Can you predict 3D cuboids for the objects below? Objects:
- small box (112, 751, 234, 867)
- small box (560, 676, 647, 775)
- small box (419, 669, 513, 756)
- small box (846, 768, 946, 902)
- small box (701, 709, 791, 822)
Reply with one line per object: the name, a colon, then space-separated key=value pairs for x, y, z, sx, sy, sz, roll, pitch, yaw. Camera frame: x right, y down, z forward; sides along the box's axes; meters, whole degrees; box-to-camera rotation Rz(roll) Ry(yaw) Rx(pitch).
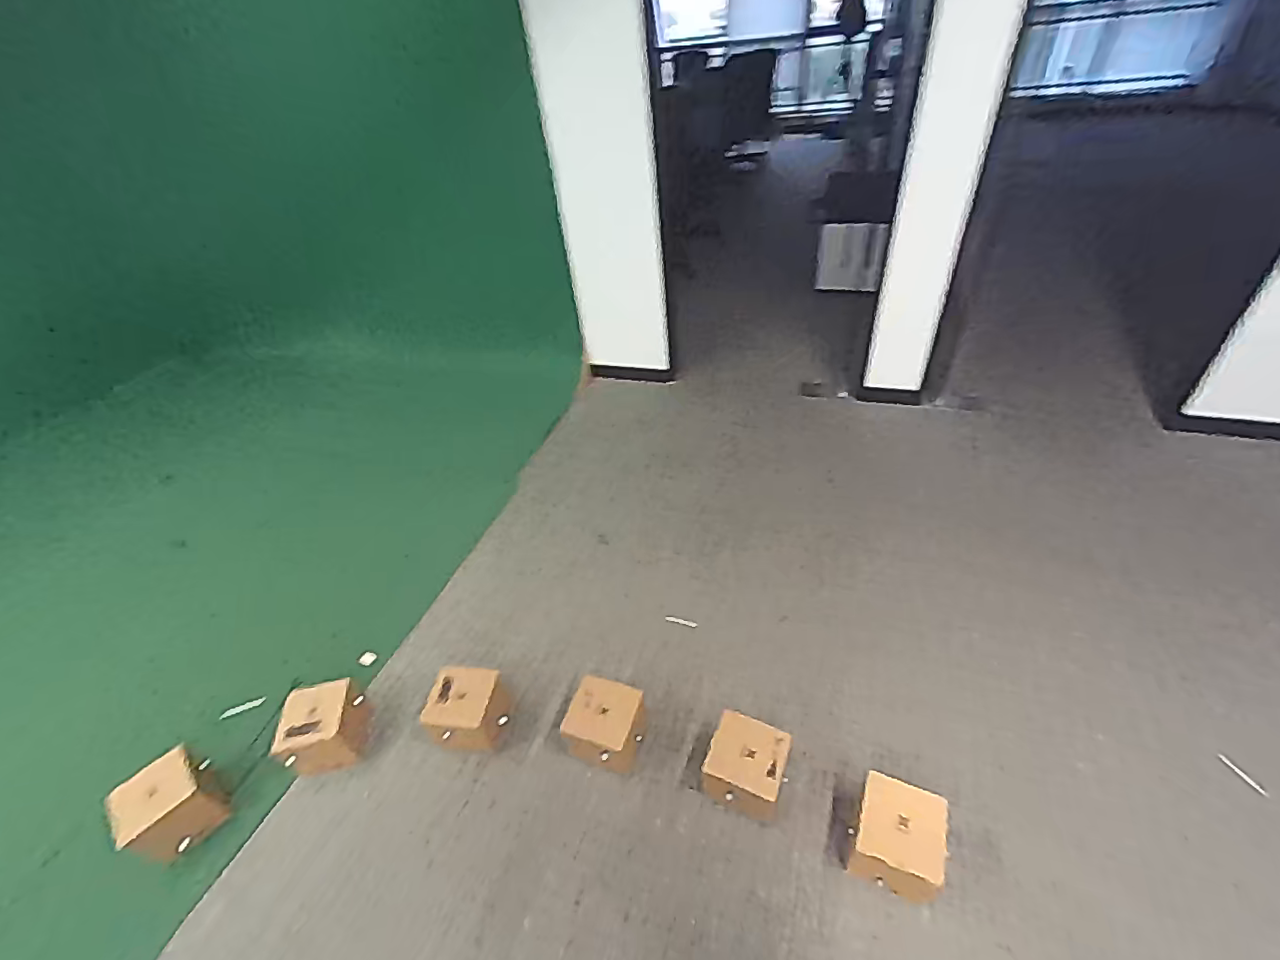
small box: x=-1.212 y=0.859 z=1.410 sx=0.179 sy=0.176 sz=0.168 roll=28 pitch=52 yaw=35
small box: x=-0.090 y=0.663 z=1.456 sx=0.179 sy=0.176 sz=0.168 roll=9 pitch=42 yaw=19
small box: x=-0.482 y=0.657 z=1.526 sx=0.179 sy=0.176 sz=0.168 roll=1 pitch=41 yaw=9
small box: x=0.567 y=0.791 z=1.207 sx=0.168 sy=0.176 sz=0.179 roll=13 pitch=45 yaw=22
small box: x=0.264 y=0.711 z=1.344 sx=0.179 sy=0.176 sz=0.168 roll=13 pitch=45 yaw=23
